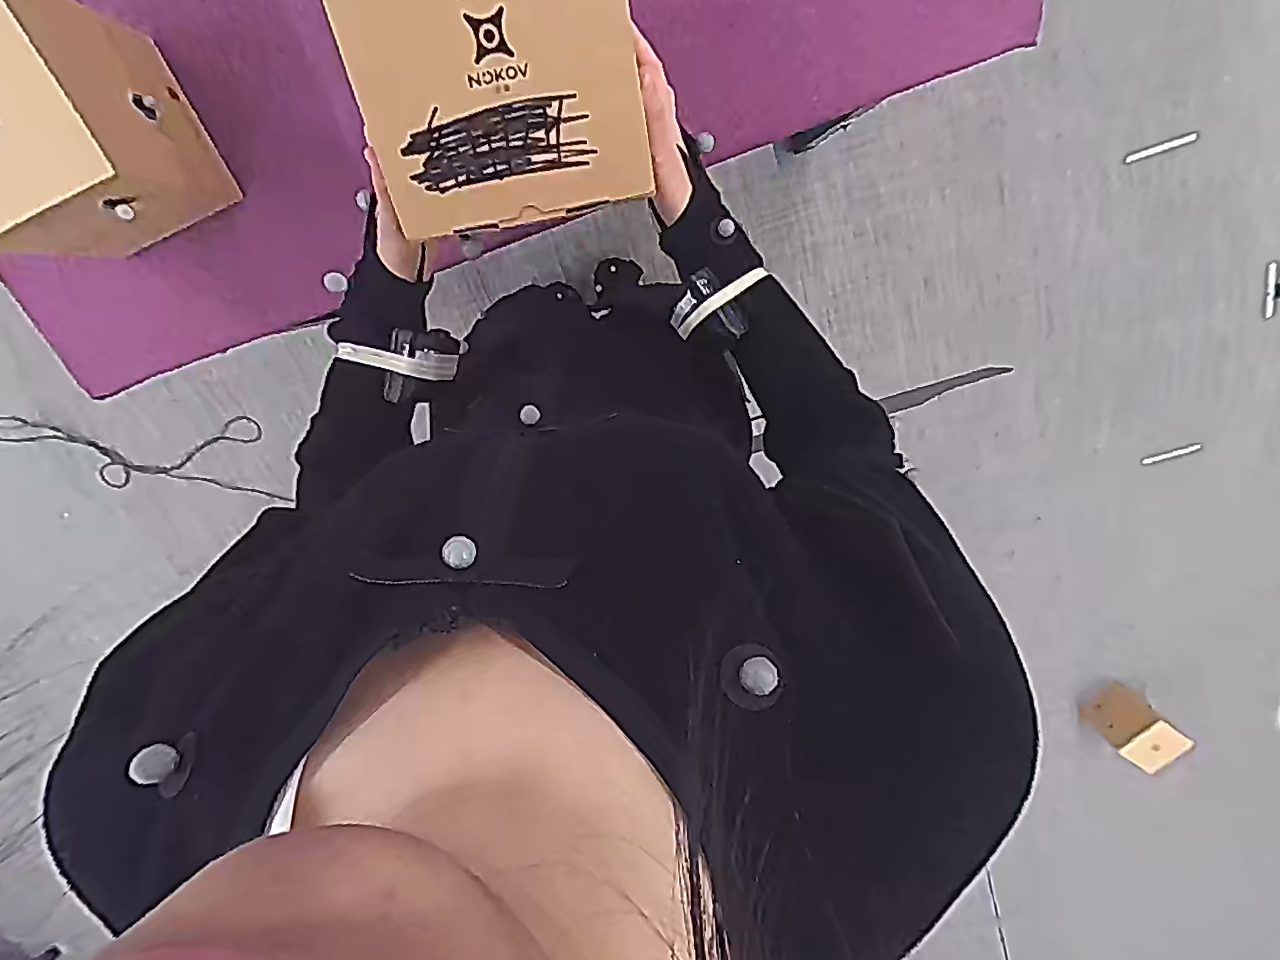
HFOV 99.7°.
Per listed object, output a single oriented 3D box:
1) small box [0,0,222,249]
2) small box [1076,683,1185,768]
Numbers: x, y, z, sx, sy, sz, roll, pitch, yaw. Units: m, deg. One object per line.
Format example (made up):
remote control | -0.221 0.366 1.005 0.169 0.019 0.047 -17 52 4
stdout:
small box | -0.562 -0.340 0.526 0.179 0.176 0.168 -20 109 7
small box | 1.624 0.810 1.805 0.179 0.176 0.168 31 110 -14
